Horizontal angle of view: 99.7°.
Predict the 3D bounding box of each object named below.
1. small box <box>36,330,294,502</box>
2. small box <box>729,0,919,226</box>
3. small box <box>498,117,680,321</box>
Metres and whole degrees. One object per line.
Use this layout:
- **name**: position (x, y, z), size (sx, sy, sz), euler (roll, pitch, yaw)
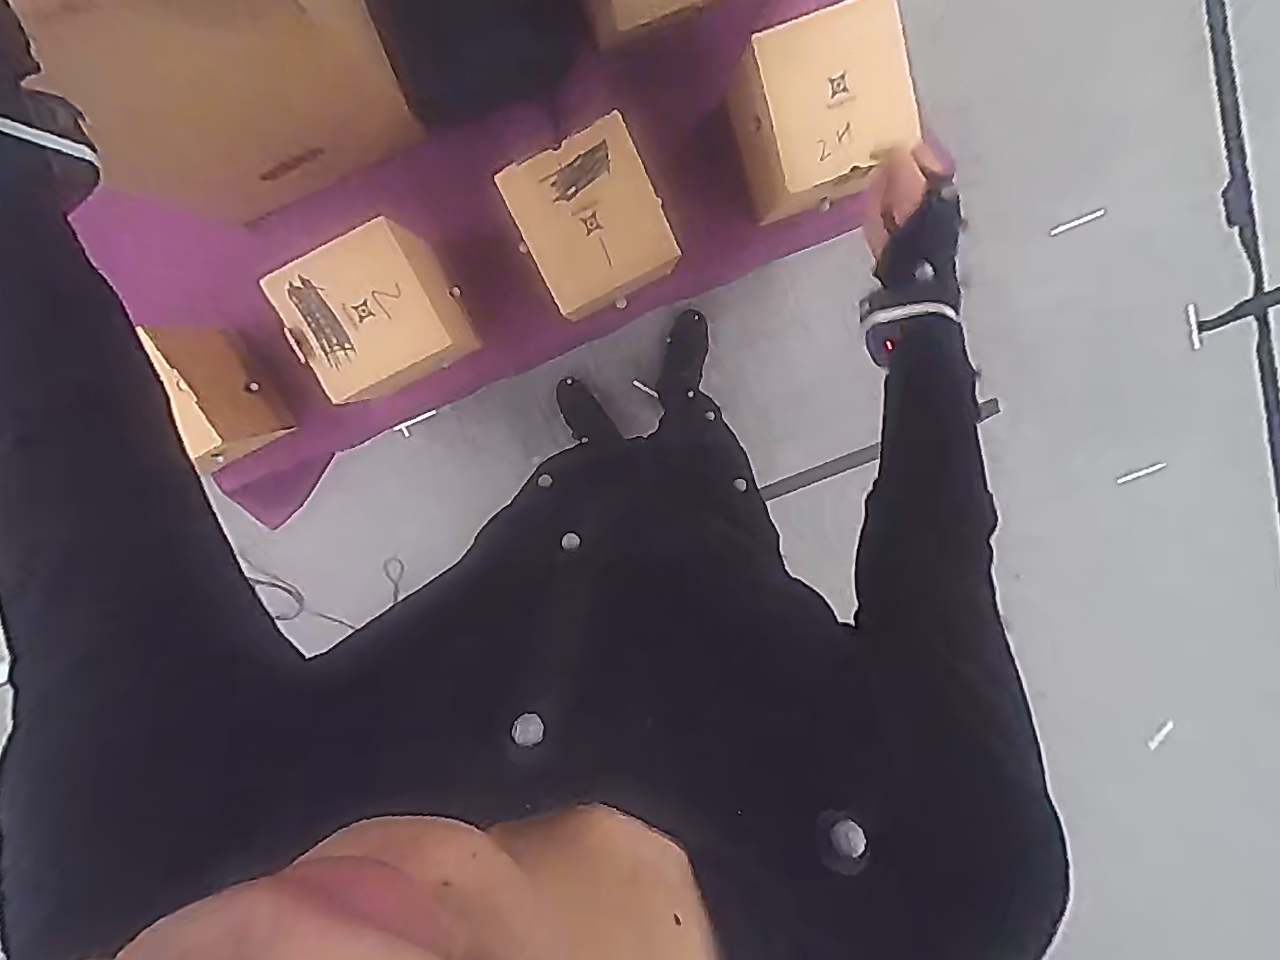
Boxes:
- **small box**: position (-0.644, -0.094, 0.761), size (0.179, 0.176, 0.168), euler (-27, 103, 3)
- **small box**: position (0.223, -0.457, 0.697), size (0.168, 0.176, 0.179), euler (-18, 103, 4)
- **small box**: position (-0.062, -0.328, 0.721), size (0.168, 0.176, 0.179), euler (-25, 104, 5)
